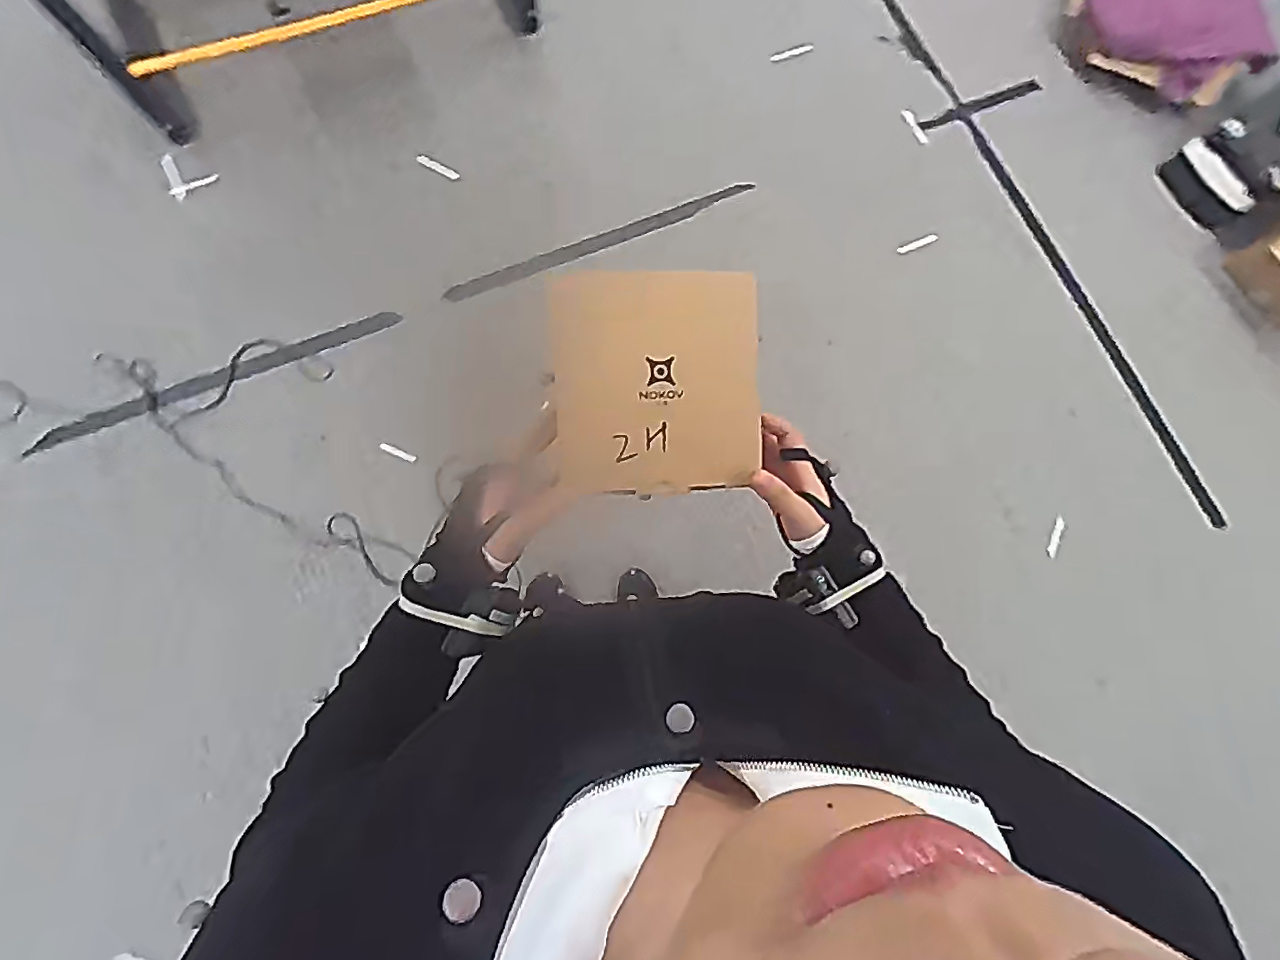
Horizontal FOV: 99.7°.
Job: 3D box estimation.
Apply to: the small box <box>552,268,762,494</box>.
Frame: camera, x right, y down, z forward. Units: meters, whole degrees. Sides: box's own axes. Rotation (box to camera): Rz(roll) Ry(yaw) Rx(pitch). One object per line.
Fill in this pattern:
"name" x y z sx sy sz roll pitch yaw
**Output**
"small box" 0.005 -0.082 0.507 0.168 0.176 0.179 -4 93 -6
